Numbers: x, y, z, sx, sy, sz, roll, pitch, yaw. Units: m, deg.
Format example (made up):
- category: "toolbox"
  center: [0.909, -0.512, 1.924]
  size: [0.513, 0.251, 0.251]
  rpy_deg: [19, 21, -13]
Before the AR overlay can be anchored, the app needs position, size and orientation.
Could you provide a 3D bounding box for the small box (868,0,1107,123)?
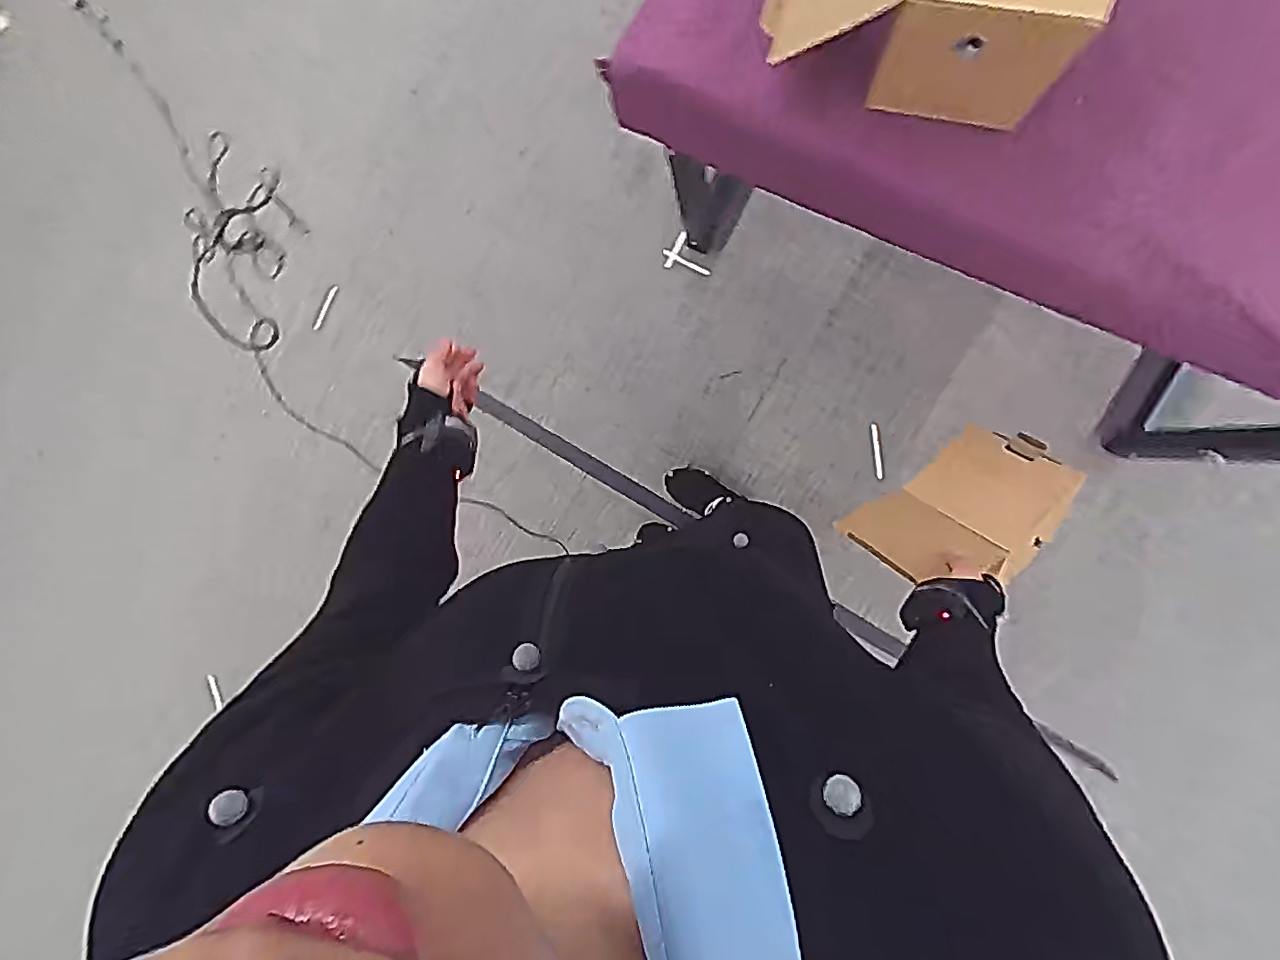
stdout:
- category: "small box"
  center: [0.362, -0.512, 0.565]
  size: [0.179, 0.176, 0.168]
  rpy_deg: [15, 96, 8]
